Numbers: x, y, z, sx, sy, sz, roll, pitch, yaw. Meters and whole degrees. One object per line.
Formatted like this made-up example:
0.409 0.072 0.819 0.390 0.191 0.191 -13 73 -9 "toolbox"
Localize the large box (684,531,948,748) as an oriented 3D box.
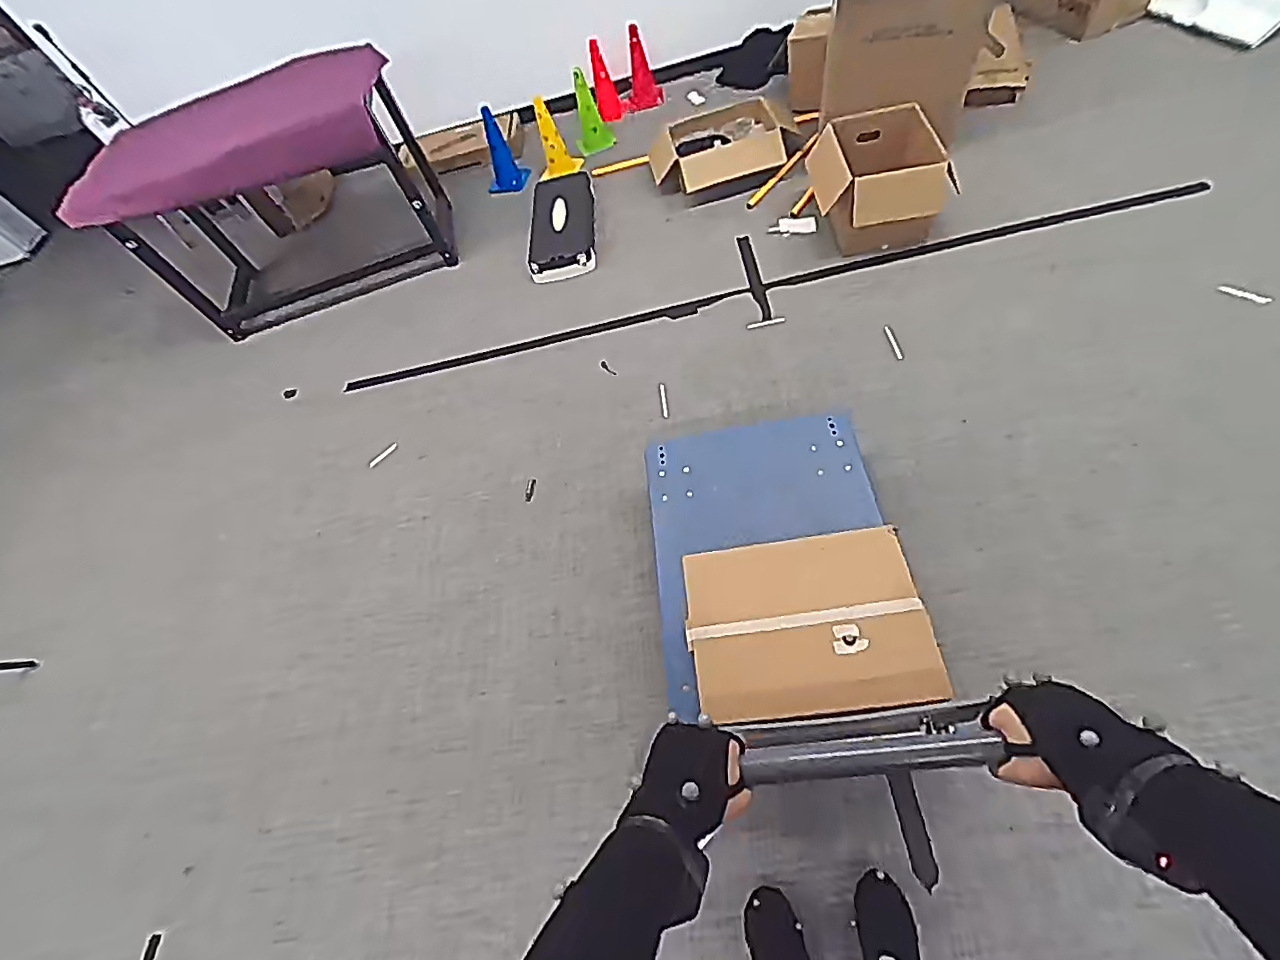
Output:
0.320 0.338 1.100 0.408 0.320 0.320 -10 58 6 "large box"
